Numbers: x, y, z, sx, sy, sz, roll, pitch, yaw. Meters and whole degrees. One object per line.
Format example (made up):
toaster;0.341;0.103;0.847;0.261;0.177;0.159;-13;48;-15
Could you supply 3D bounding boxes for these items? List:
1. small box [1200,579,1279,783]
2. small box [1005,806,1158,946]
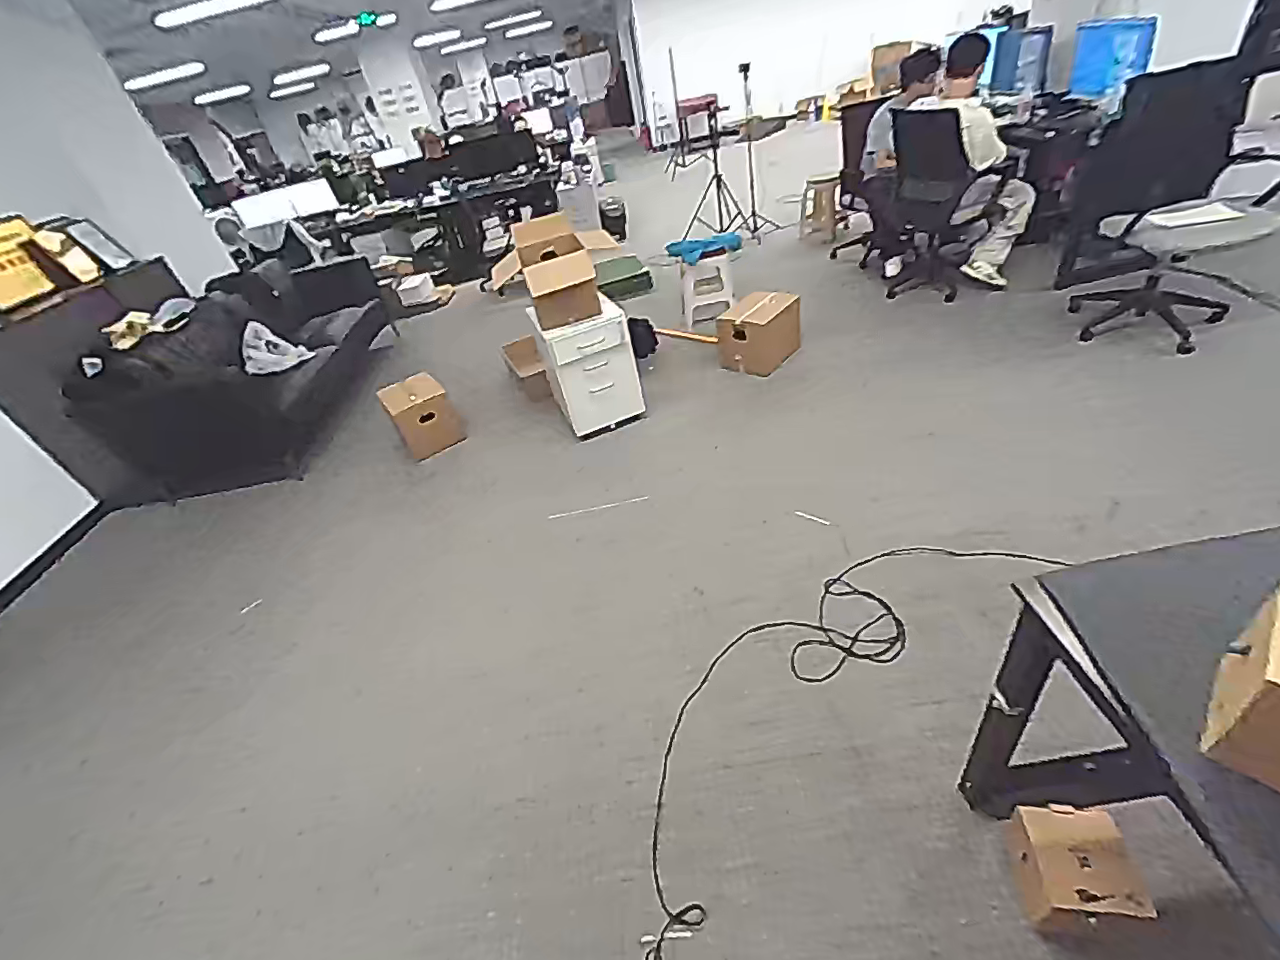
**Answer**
small box;0.775;0.249;0.596;0.179;0.176;0.168;24;51;39
small box;0.863;0.789;1.083;0.168;0.176;0.179;-4;37;14
